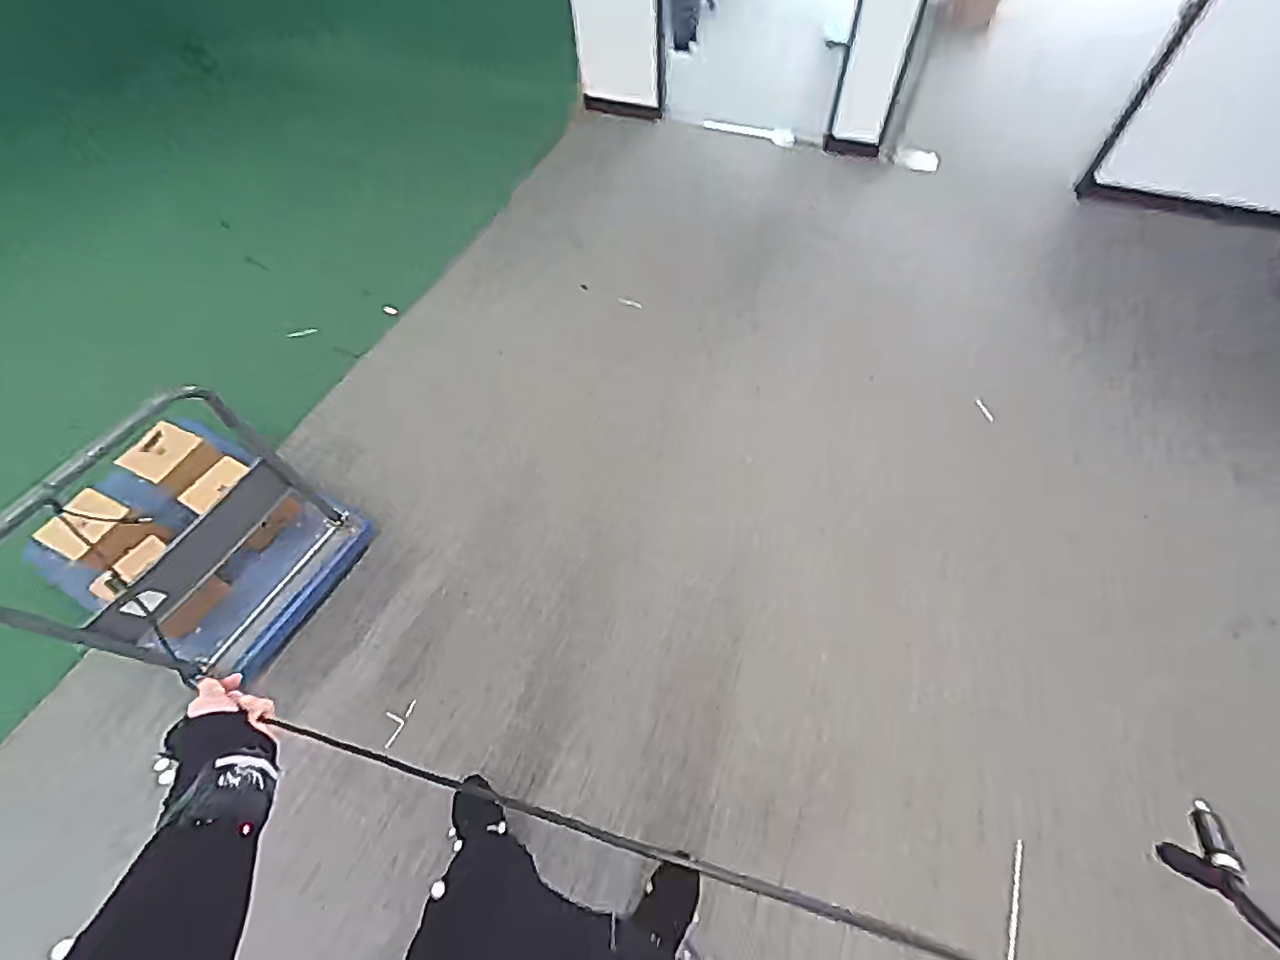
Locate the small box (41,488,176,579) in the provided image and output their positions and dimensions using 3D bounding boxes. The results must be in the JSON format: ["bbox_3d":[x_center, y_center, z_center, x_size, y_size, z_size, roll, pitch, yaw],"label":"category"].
[{"bbox_3d":[-1.472,0.157,1.513,0.179,0.176,0.168,22,61,15],"label":"small box"}]

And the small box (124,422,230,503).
[{"bbox_3d":[-1.364,-0.040,1.627,0.179,0.176,0.168,22,63,14],"label":"small box"}]

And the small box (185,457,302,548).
[{"bbox_3d":[-1.129,0.070,1.552,0.179,0.176,0.168,26,63,16],"label":"small box"}]
